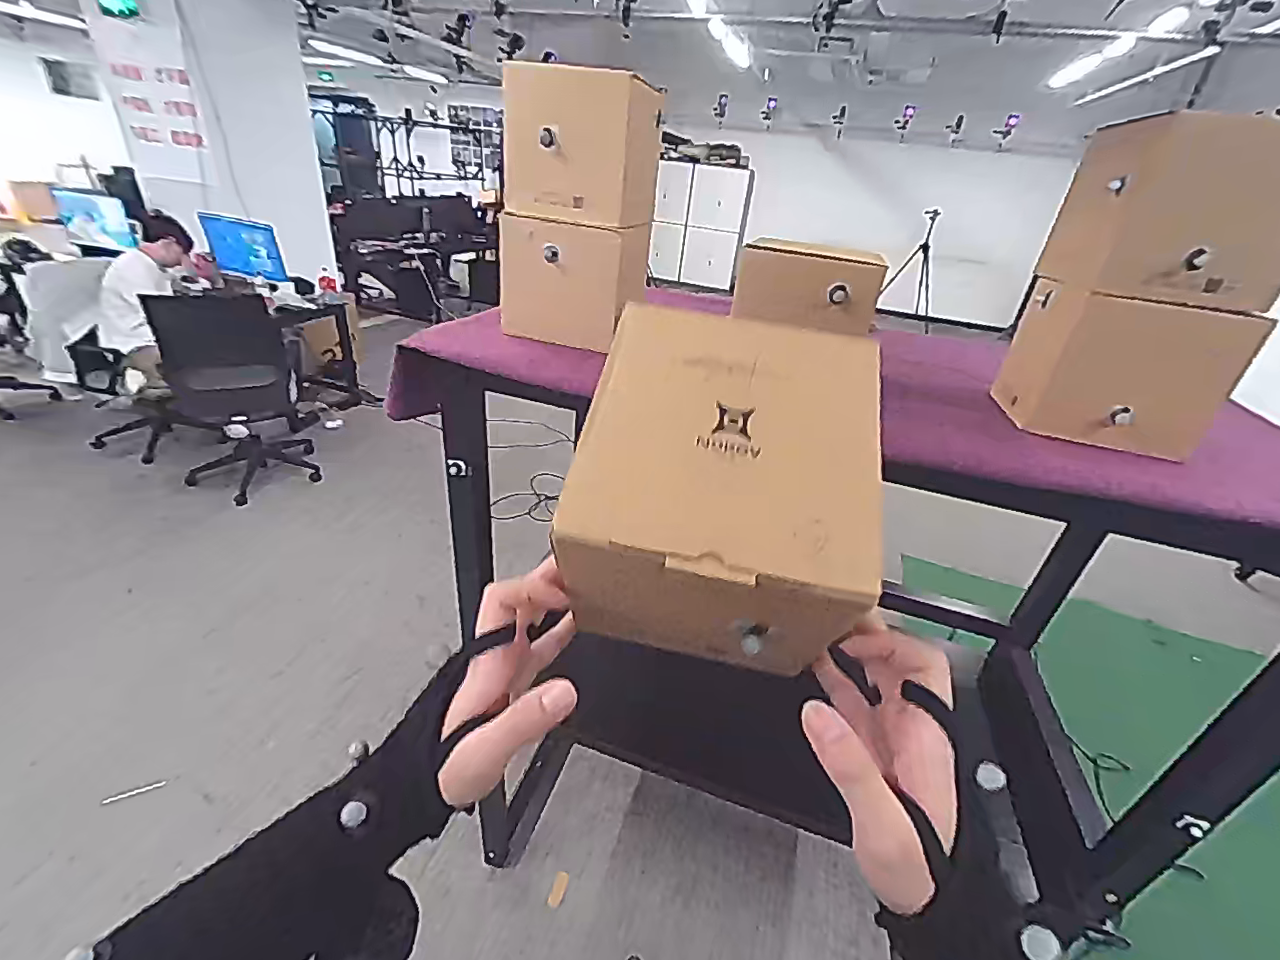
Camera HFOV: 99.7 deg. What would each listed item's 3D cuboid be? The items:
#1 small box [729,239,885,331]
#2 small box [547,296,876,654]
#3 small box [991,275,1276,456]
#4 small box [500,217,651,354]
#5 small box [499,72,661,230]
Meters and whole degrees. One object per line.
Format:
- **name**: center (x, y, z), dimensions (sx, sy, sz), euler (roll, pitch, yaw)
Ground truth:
- **small box**: center (0.223, -0.229, 0.755), dimensions (0.179, 0.176, 0.168), euler (14, 30, 14)
- **small box**: center (0.050, 0.006, 0.375), dimensions (0.168, 0.176, 0.179), euler (11, 60, 6)
- **small box**: center (0.575, -0.144, 0.666), dimensions (0.179, 0.176, 0.168), euler (14, 28, 13)
- **small box**: center (-0.094, -0.299, 0.821), dimensions (0.179, 0.176, 0.168), euler (13, 30, 10)
- **small box**: center (-0.076, -0.443, 0.748), dimensions (0.168, 0.176, 0.179), euler (12, 29, 11)
